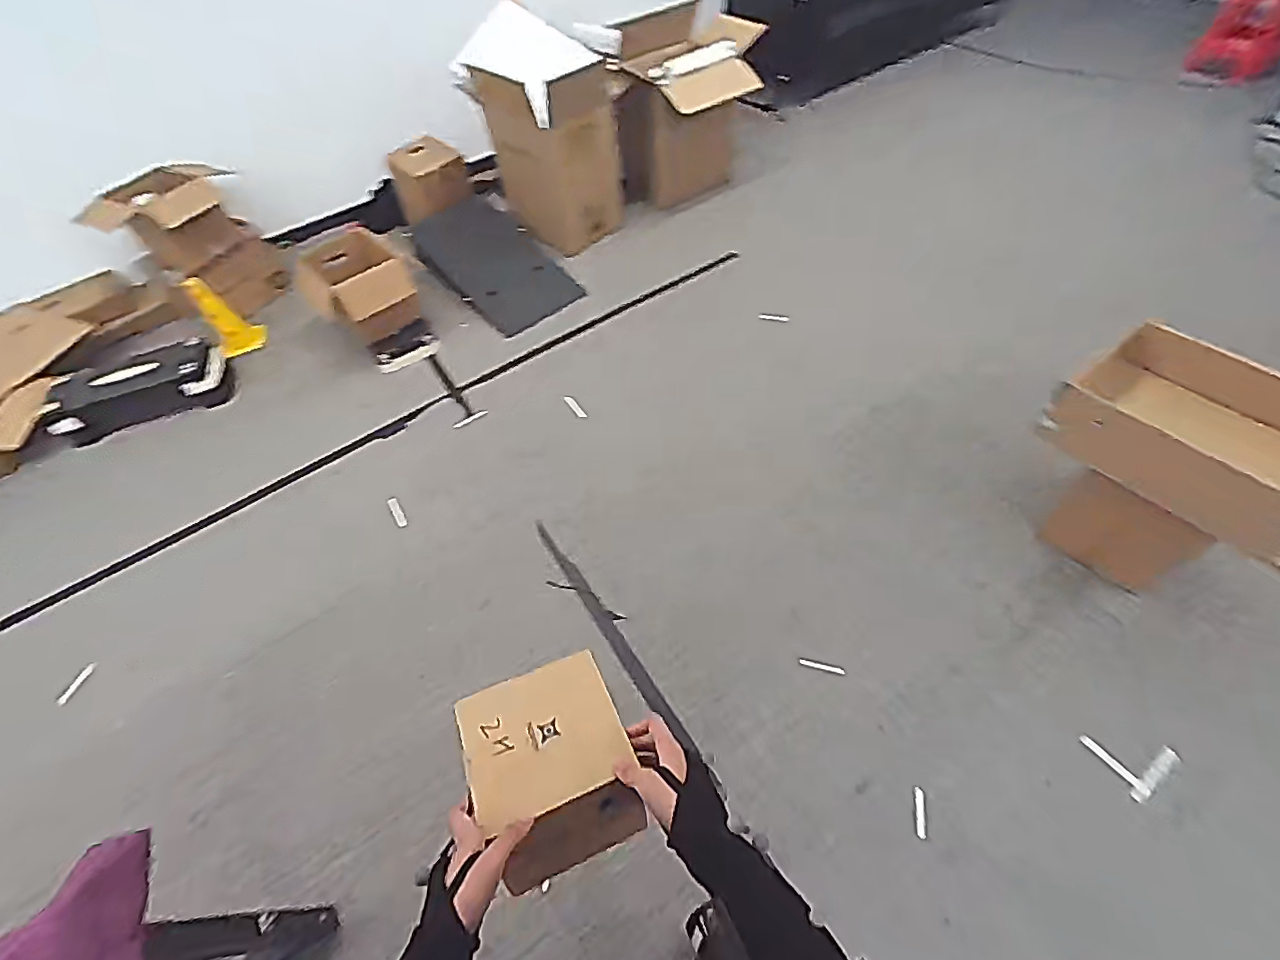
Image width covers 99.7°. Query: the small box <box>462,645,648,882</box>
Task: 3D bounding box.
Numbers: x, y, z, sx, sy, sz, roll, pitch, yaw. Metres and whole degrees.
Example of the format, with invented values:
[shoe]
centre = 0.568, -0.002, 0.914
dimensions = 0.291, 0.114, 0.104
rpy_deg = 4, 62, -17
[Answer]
[small box]
centre = -0.099, 0.341, 0.658
dimensions = 0.179, 0.176, 0.168
rpy_deg = -18, 40, -16
